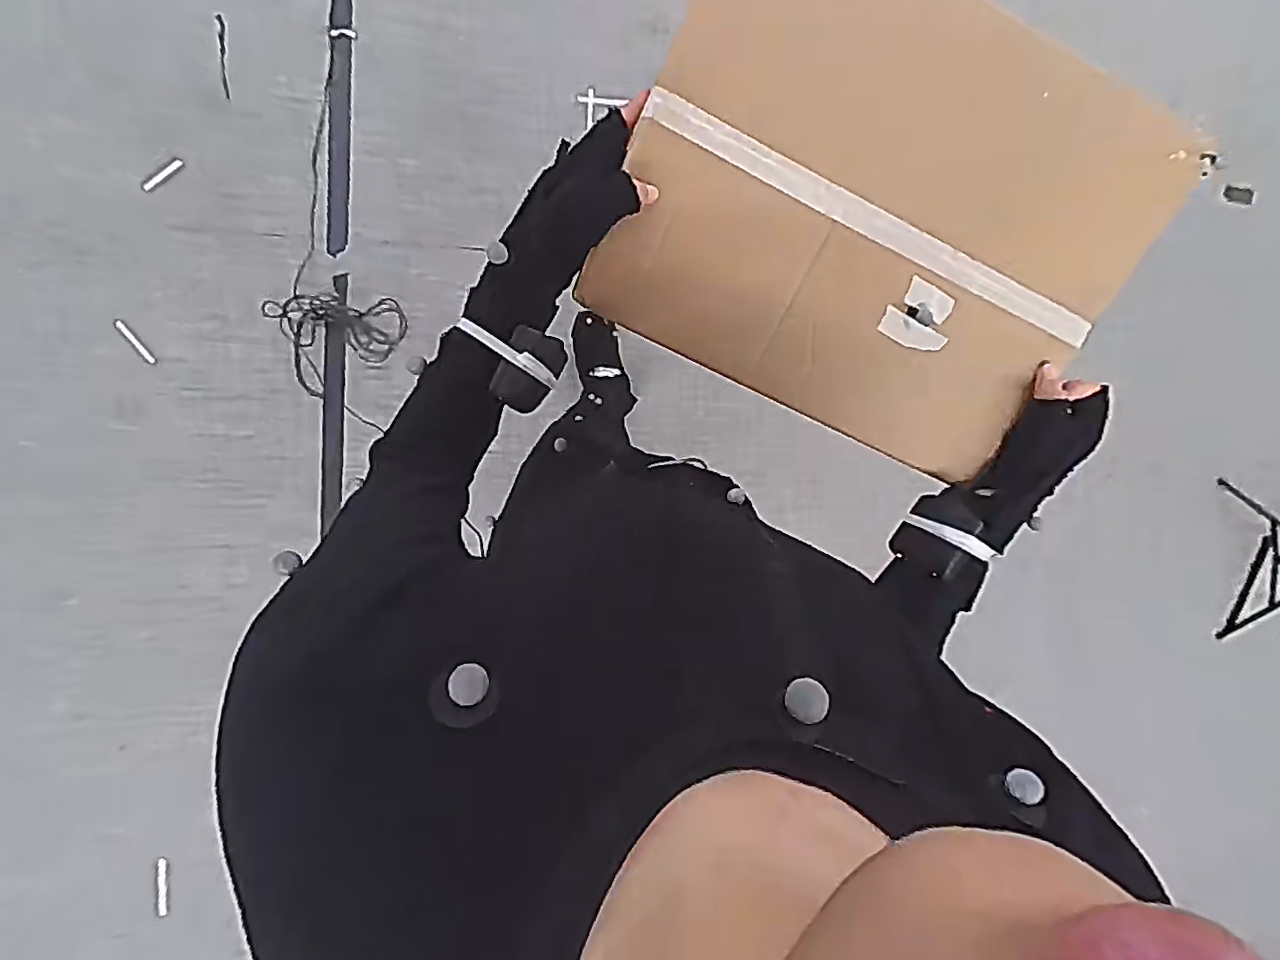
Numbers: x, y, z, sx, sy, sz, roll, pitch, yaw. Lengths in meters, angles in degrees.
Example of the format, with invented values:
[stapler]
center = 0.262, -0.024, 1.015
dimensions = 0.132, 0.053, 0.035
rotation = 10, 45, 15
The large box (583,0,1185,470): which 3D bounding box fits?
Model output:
[large box]
center = 0.188, -0.265, 0.584
dimensions = 0.408, 0.320, 0.320
rotation = 24, 109, -9
